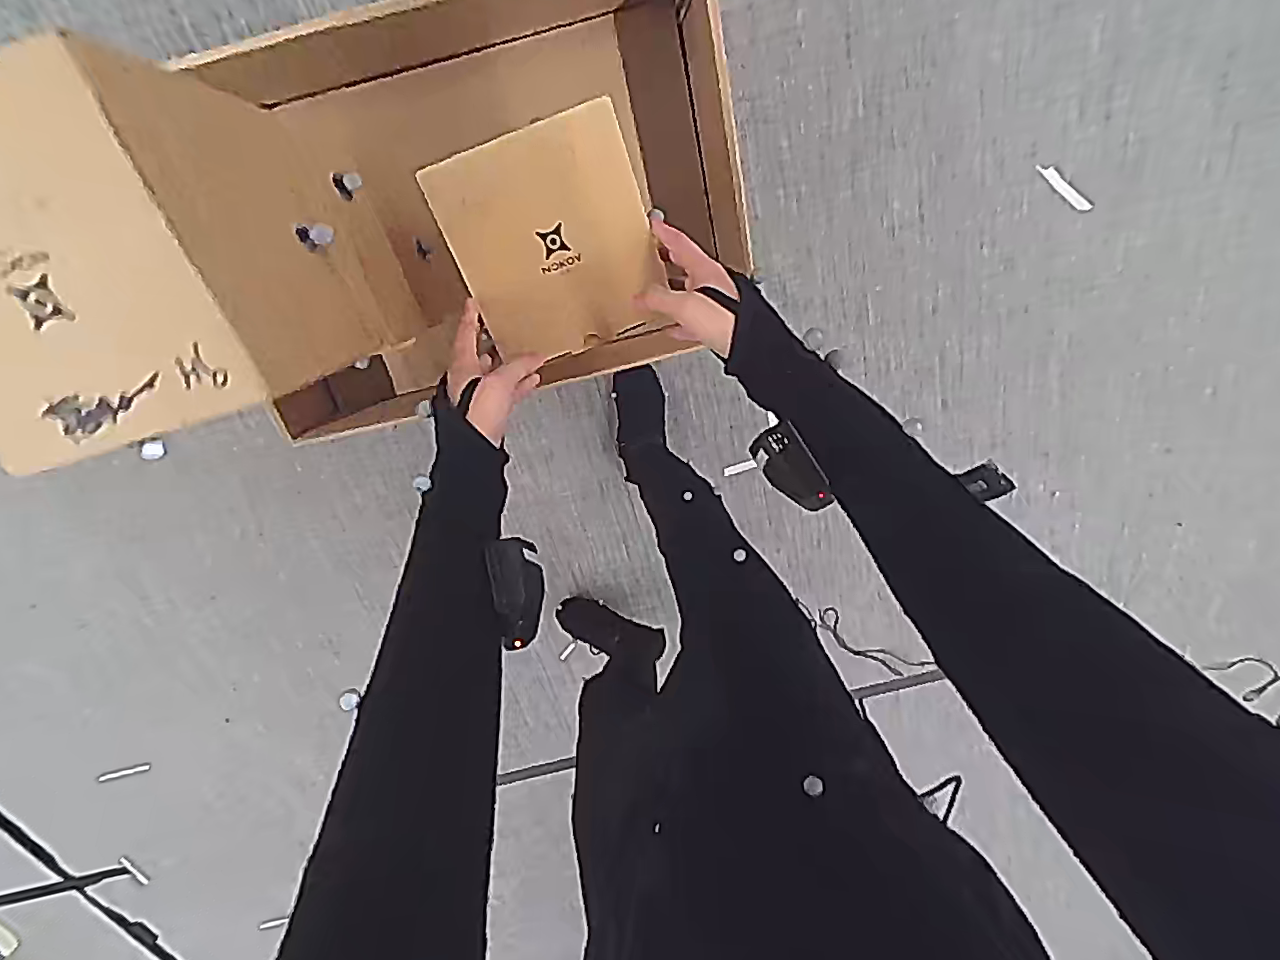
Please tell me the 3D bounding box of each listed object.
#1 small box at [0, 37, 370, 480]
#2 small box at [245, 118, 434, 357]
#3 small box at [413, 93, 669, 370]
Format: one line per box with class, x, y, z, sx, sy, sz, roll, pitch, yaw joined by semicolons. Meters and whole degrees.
small box;-0.313;-0.127;0.346;0.168;0.176;0.179;-16;113;3
small box;-0.318;-0.194;0.496;0.168;0.176;0.179;-16;114;3
small box;-0.086;-0.230;0.527;0.168;0.176;0.179;-21;115;3
